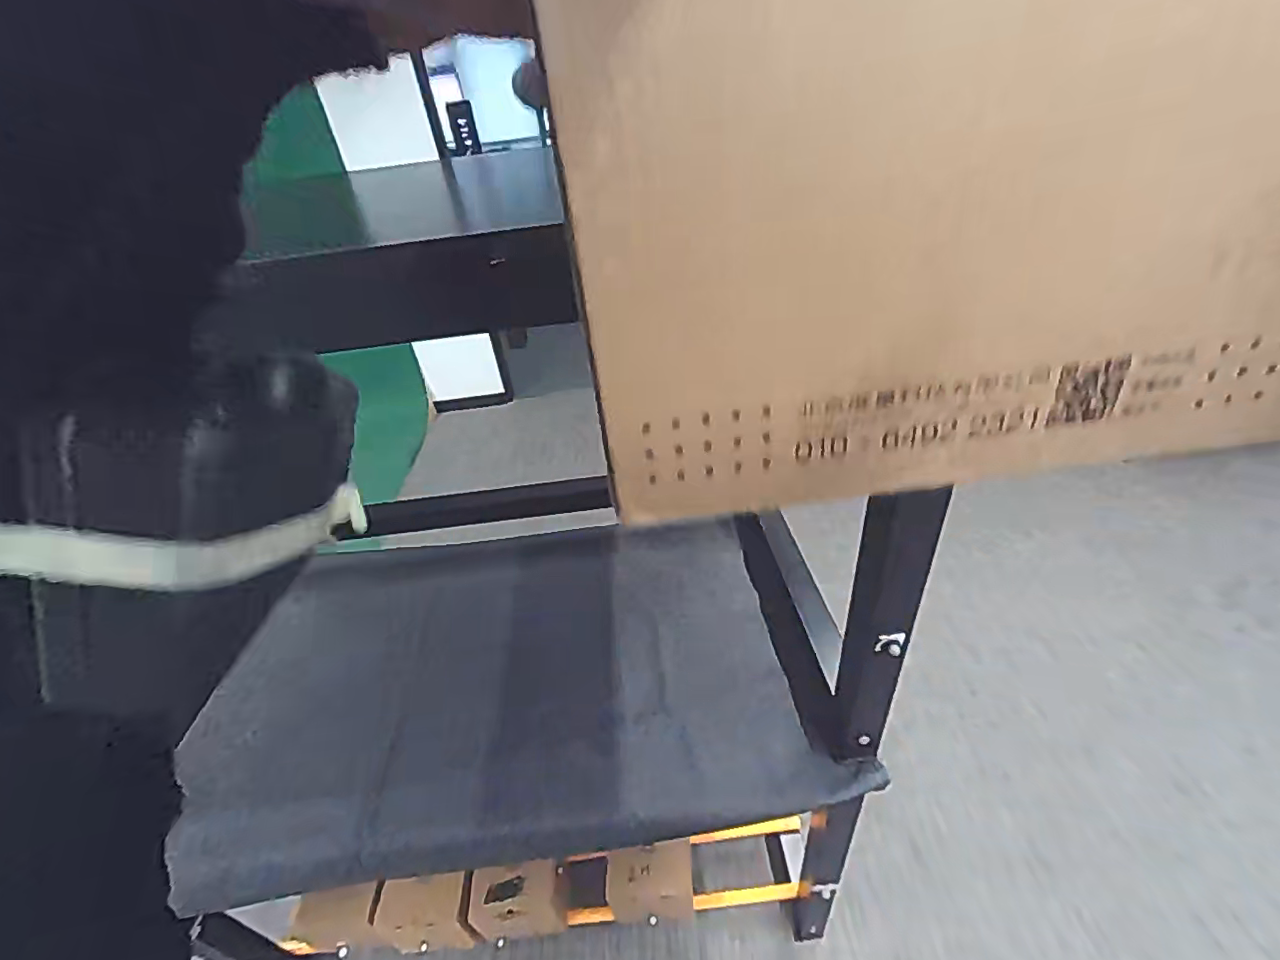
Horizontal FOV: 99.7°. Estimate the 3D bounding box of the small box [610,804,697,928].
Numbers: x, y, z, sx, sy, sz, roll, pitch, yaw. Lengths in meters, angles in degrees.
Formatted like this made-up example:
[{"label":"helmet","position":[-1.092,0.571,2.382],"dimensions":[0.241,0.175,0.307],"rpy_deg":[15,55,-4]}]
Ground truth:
[{"label":"small box","position":[0.033,0.827,1.160],"dimensions":[0.168,0.176,0.179],"rpy_deg":[-5,37,5]}]
